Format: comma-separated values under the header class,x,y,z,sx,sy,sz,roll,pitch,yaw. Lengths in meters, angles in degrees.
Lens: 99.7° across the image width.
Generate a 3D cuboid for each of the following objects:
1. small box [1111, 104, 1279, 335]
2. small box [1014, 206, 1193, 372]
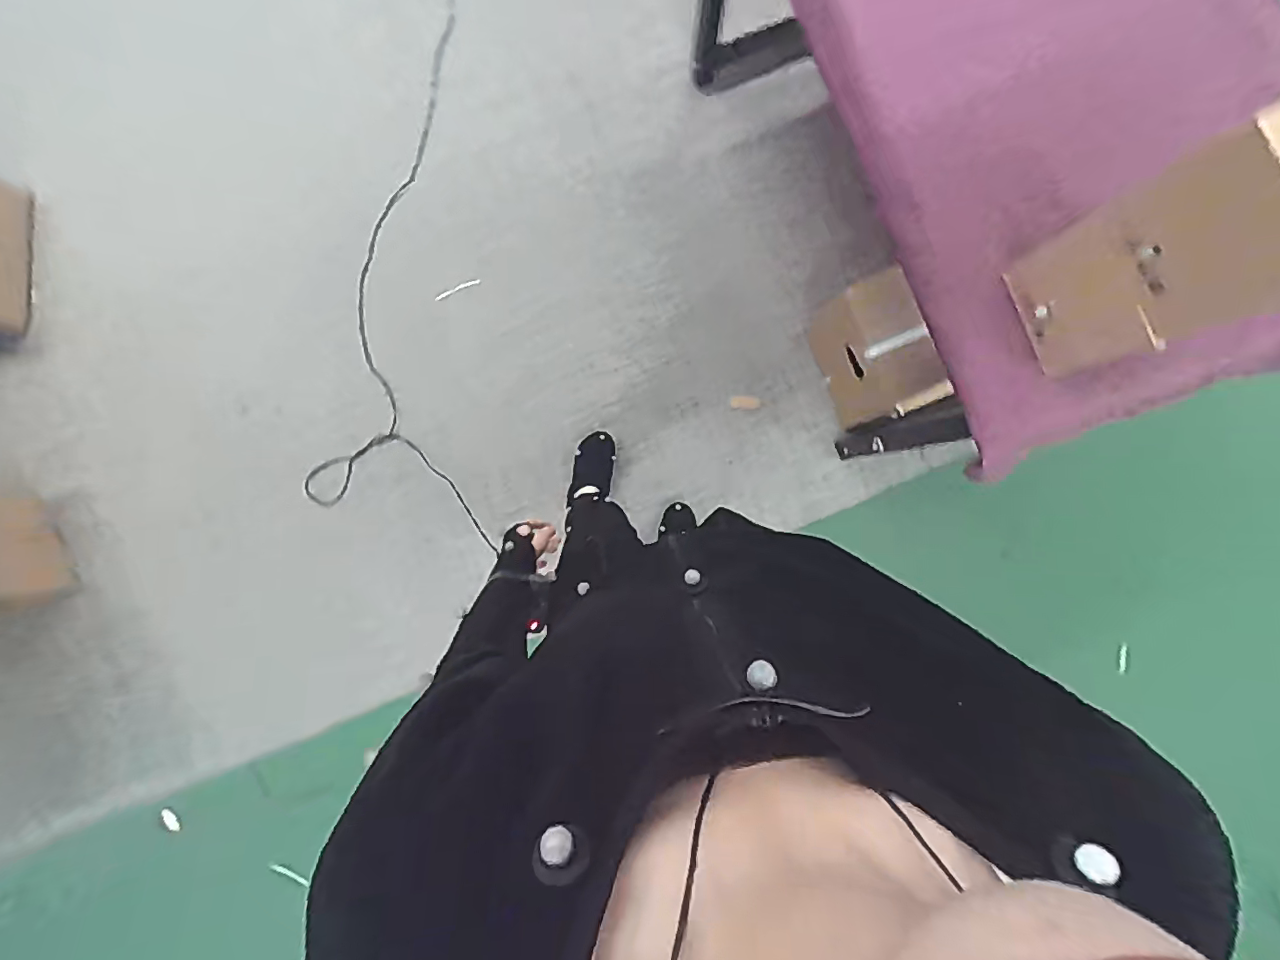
class,x,y,z,sx,sy,sz,roll,pitch,yaw
small box,0.641,-0.269,0.535,0.179,0.176,0.168,-24,87,-1
small box,0.641,-0.258,0.697,0.179,0.176,0.168,-21,88,-1
